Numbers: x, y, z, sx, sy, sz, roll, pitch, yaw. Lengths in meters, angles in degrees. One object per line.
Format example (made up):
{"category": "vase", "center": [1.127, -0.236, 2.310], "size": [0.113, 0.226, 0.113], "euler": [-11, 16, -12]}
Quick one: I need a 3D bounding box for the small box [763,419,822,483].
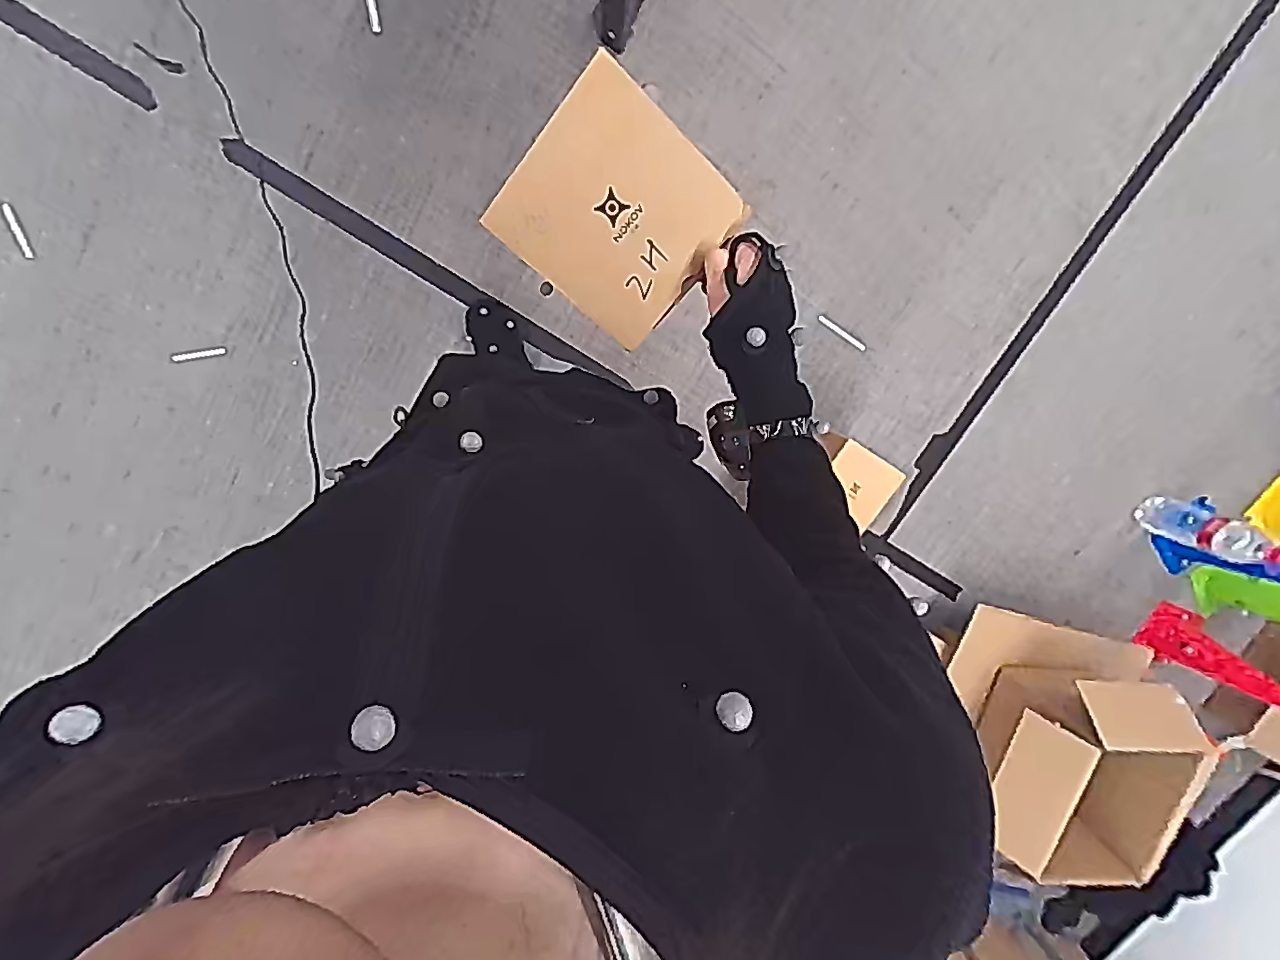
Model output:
{"category": "small box", "center": [0.448, -0.045, 1.400], "size": [0.179, 0.176, 0.168], "euler": [28, 103, -15]}

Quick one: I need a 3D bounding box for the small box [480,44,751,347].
{"category": "small box", "center": [-0.027, -0.260, 0.533], "size": [0.179, 0.176, 0.168], "euler": [37, 106, -19]}

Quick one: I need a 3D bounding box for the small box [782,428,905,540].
{"category": "small box", "center": [0.456, 0.002, 1.244], "size": [0.168, 0.176, 0.179], "euler": [29, 103, -14]}
